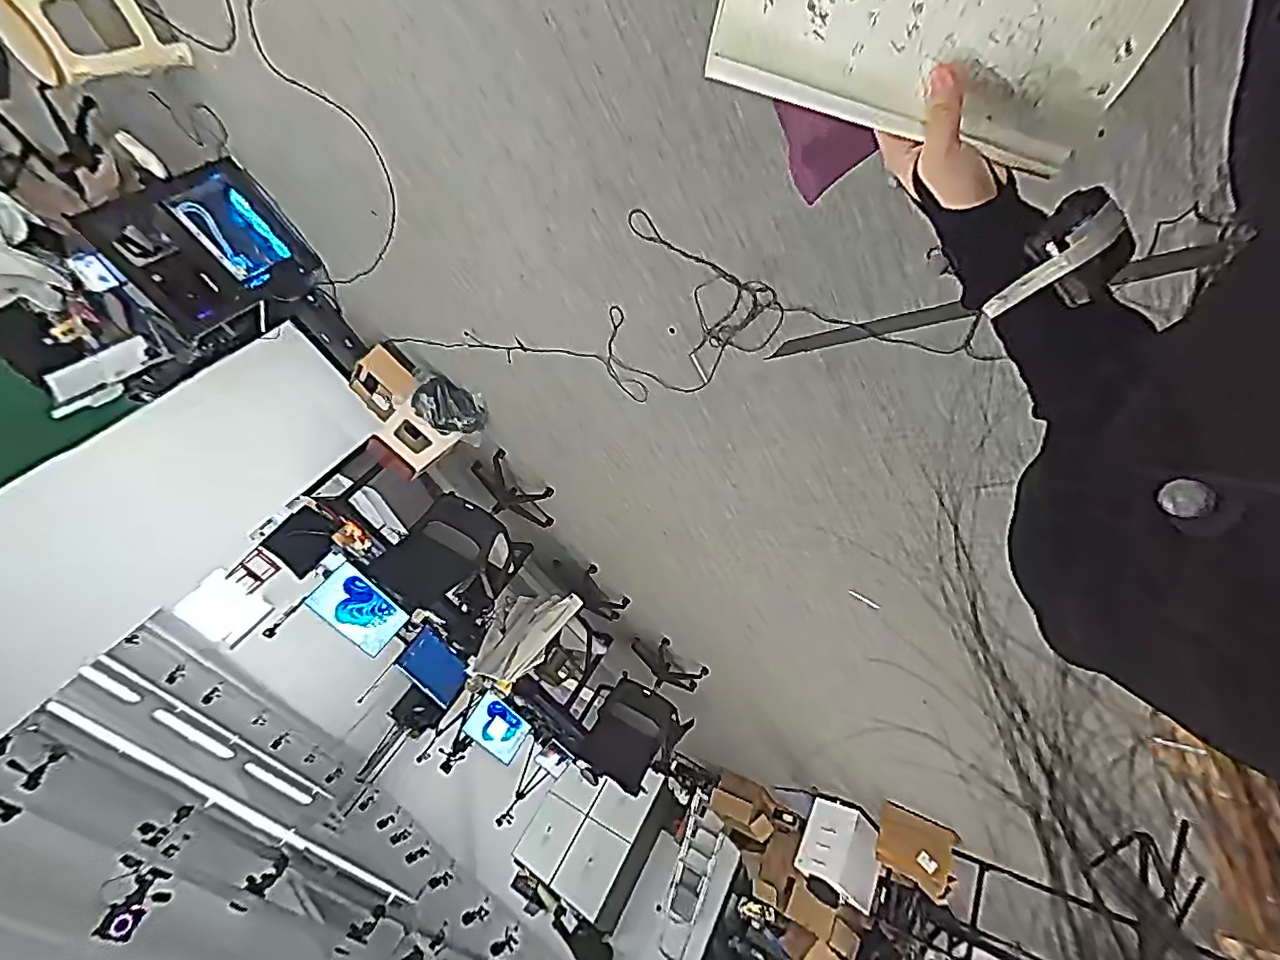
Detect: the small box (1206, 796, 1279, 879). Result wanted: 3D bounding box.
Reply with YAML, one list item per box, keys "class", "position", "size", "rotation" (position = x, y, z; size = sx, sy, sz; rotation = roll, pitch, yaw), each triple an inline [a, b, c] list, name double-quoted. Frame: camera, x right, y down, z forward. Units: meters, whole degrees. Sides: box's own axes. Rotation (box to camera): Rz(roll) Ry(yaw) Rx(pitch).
- class: "small box"
  position: [1.590, 0.949, 1.391]
  size: [0.179, 0.176, 0.168]
  rotation: [0, 134, 42]

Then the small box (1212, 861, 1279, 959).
- class: "small box"
  position: [1.517, 1.072, 1.309]
  size: [0.168, 0.176, 0.179]
  rotation: [2, 136, 41]
